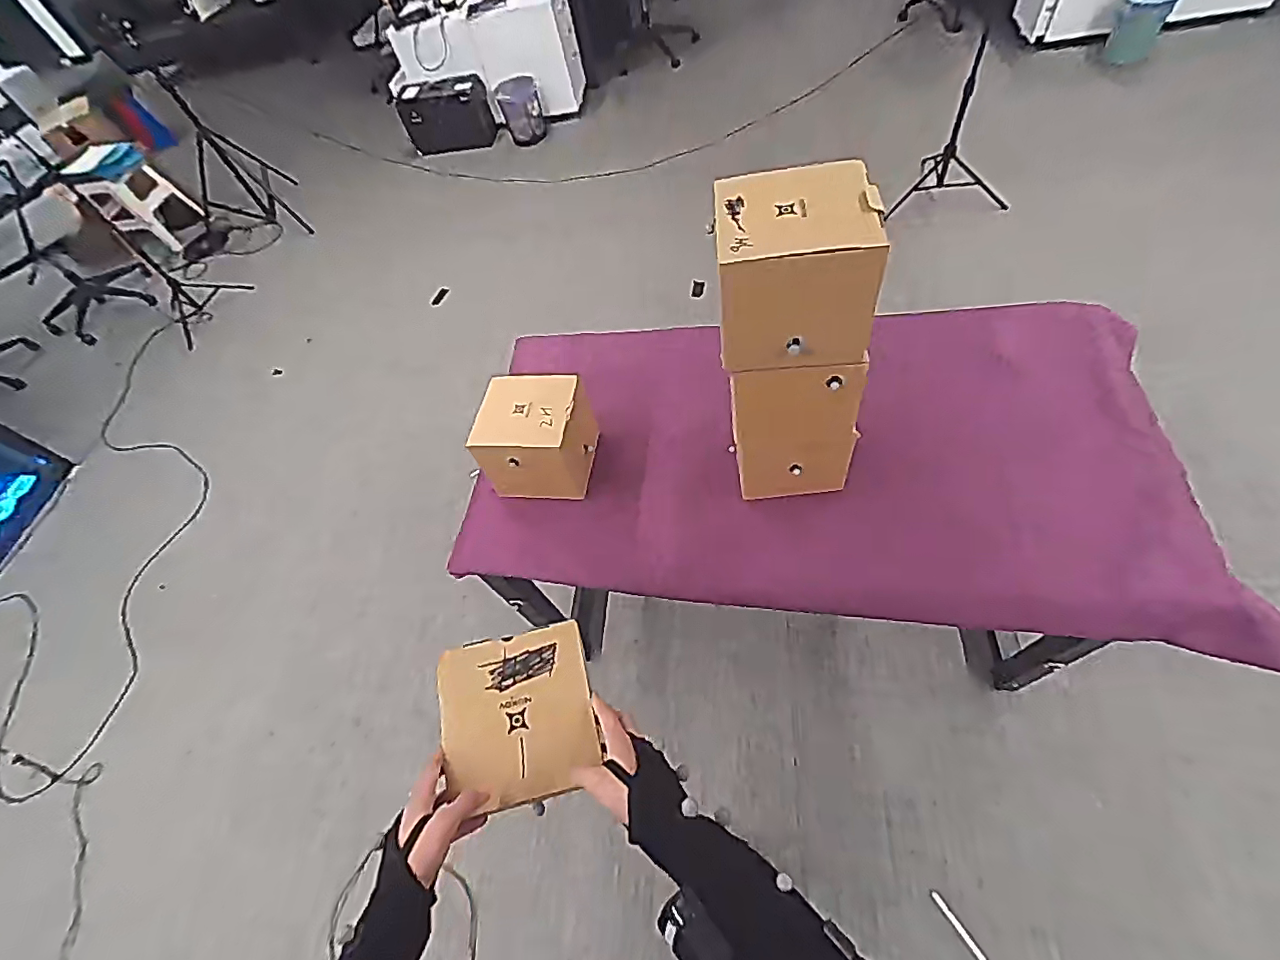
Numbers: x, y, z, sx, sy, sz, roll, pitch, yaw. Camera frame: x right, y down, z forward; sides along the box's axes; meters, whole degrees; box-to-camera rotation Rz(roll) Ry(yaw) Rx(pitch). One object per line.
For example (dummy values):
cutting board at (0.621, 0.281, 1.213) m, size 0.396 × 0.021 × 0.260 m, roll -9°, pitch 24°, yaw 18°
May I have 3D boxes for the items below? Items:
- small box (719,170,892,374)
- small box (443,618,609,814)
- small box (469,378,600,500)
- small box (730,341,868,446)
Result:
small box at (0.188, -0.249, 0.670) m, size 0.179 × 0.176 × 0.168 m, roll -2°, pitch 56°, yaw 9°
small box at (-0.135, 0.293, 0.668) m, size 0.168 × 0.176 × 0.179 m, roll -11°, pitch 62°, yaw -8°
small box at (-0.188, -0.074, 1.023) m, size 0.179 × 0.176 × 0.168 m, roll 3°, pitch 57°, yaw 12°
small box at (0.224, -0.163, 0.806) m, size 0.179 × 0.176 × 0.168 m, roll -2°, pitch 57°, yaw 10°
